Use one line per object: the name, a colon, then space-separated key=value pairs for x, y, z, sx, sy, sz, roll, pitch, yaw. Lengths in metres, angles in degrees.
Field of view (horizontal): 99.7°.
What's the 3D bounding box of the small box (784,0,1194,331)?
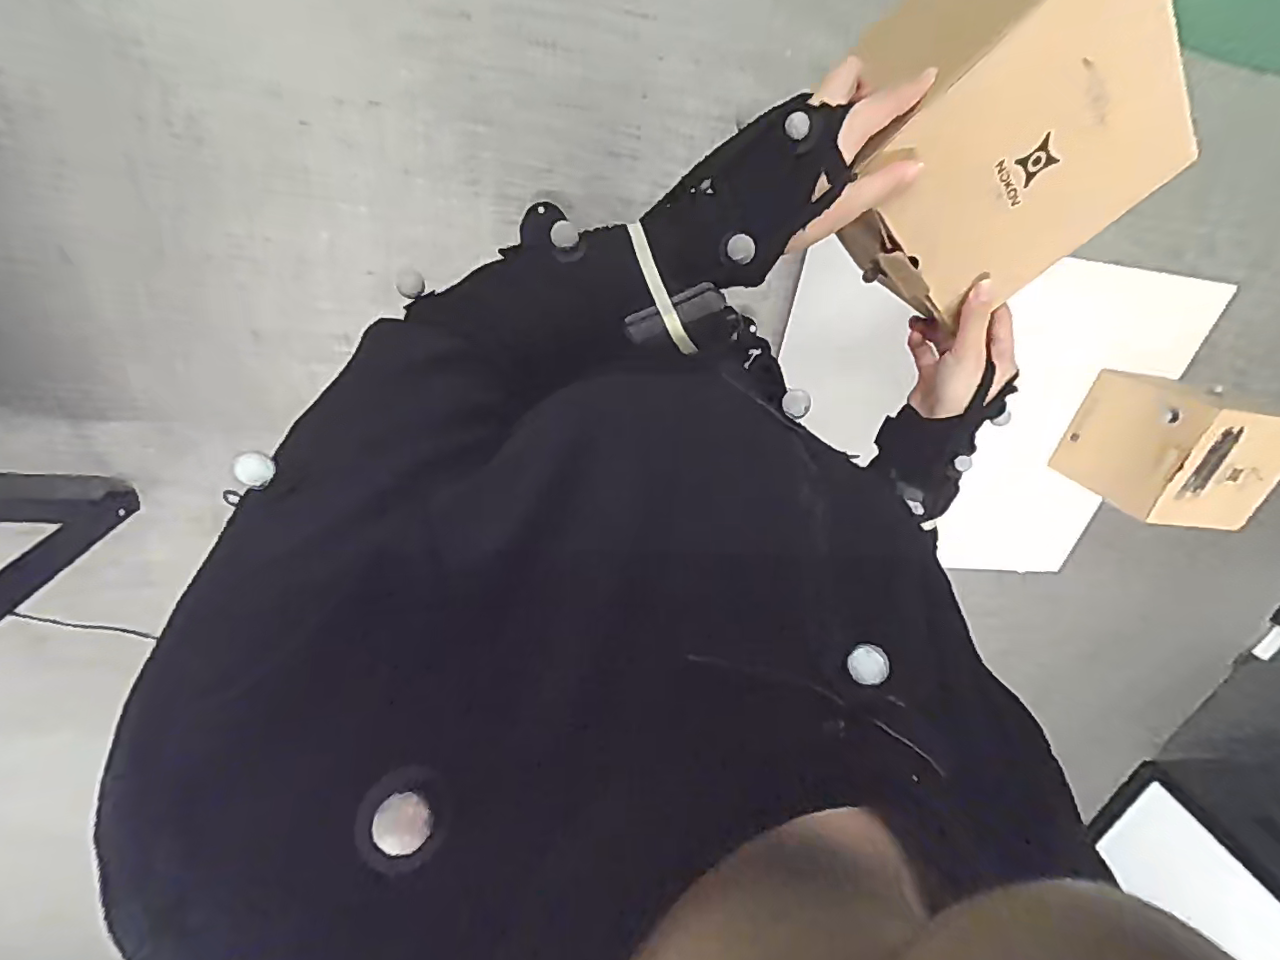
small box: x=0.229 y=-0.253 z=0.399 sx=0.168 sy=0.176 sz=0.179 roll=33 pitch=116 yaw=-32
